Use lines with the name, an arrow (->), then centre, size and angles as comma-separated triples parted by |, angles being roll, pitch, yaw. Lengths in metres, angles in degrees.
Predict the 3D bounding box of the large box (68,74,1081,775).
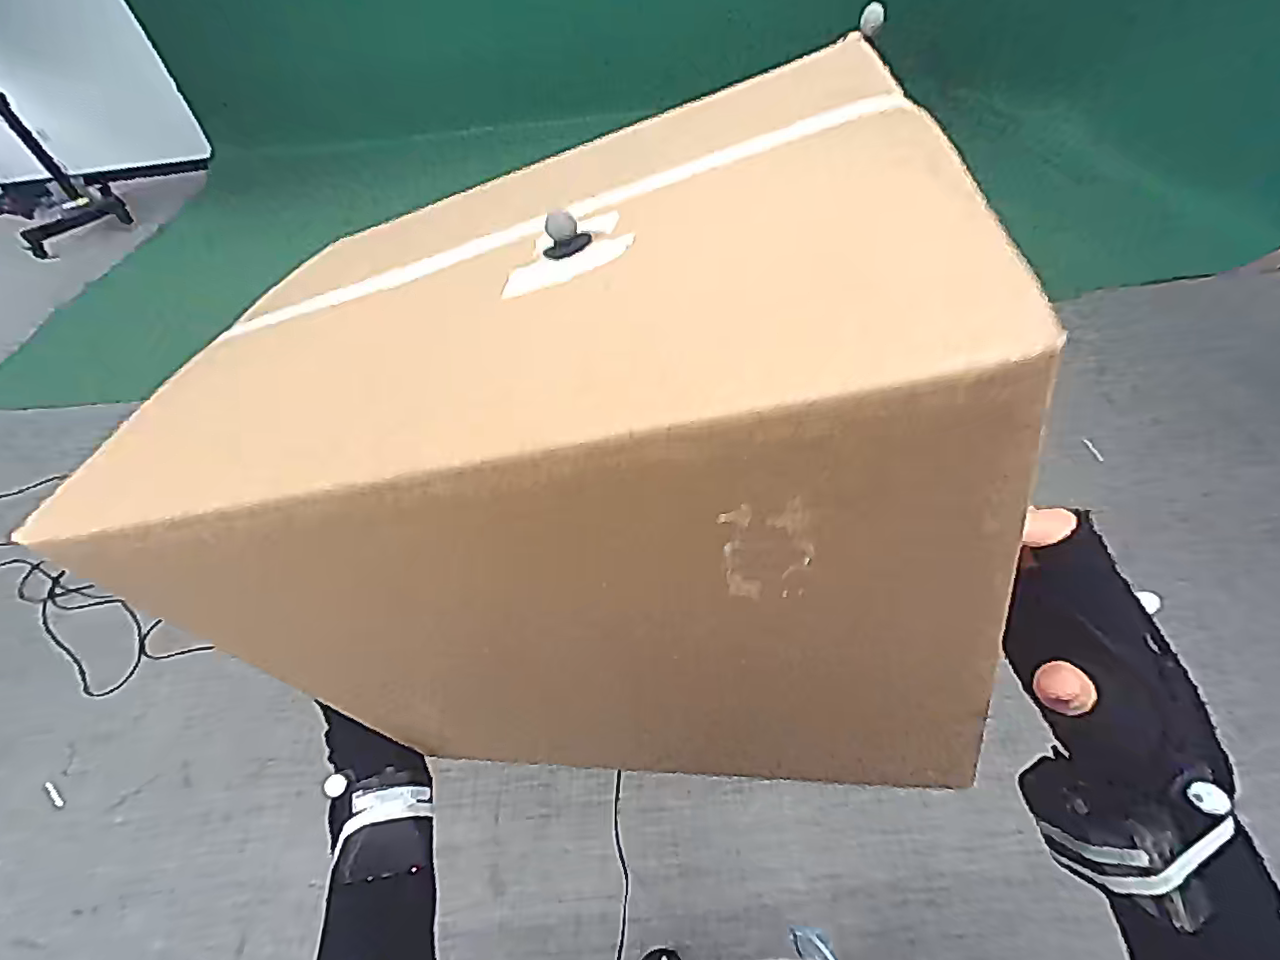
large box -> -0.015, -0.007, 0.386 | 0.408, 0.320, 0.320 | -8, 46, 20
